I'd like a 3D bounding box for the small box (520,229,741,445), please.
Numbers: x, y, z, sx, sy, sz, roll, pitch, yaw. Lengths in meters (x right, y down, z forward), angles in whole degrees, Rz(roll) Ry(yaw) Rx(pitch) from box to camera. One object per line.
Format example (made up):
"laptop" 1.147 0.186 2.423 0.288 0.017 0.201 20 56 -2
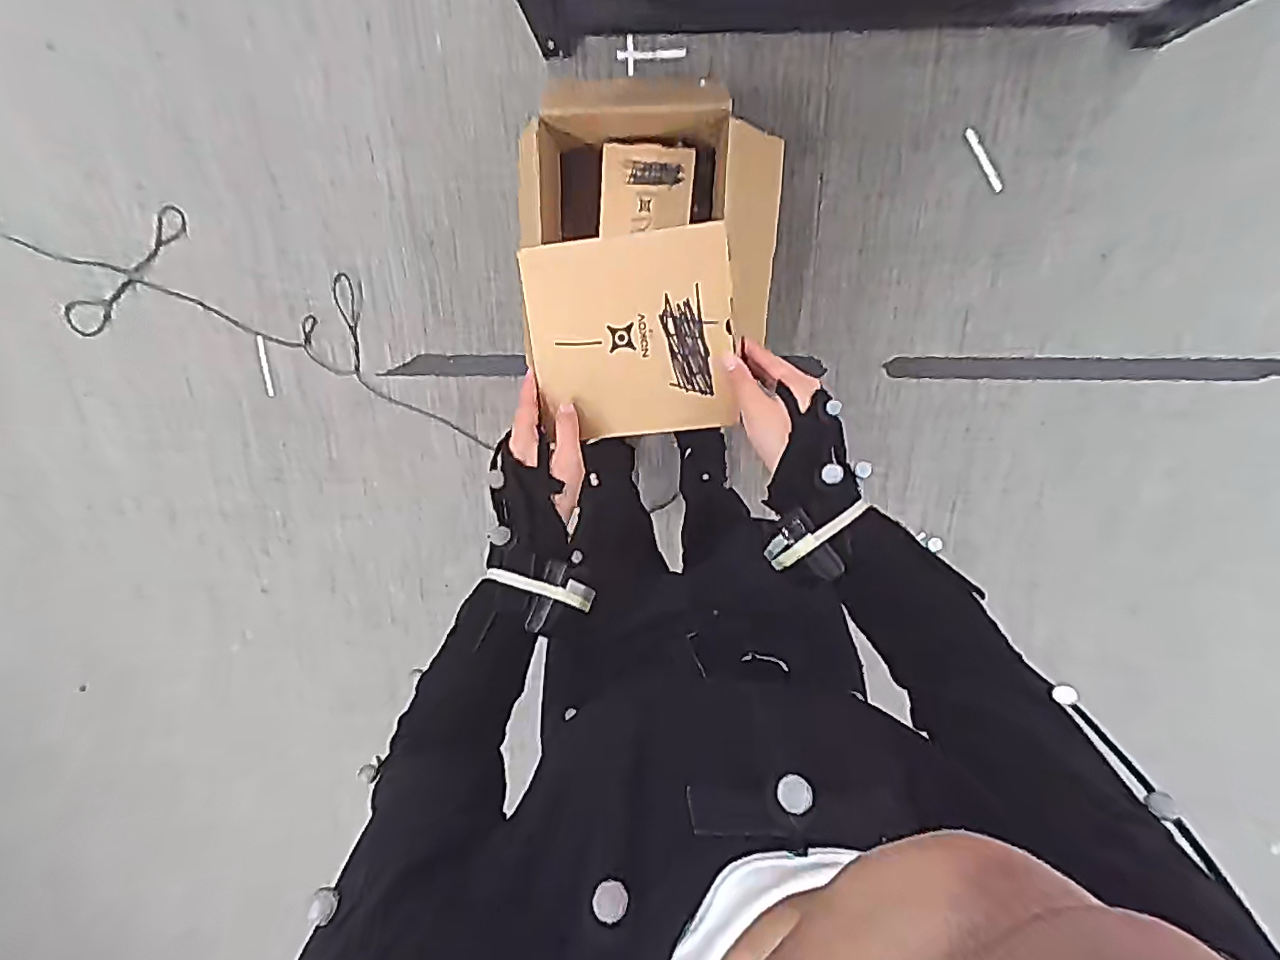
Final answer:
"small box" -0.003 -0.134 0.534 0.179 0.176 0.168 -5 102 4
